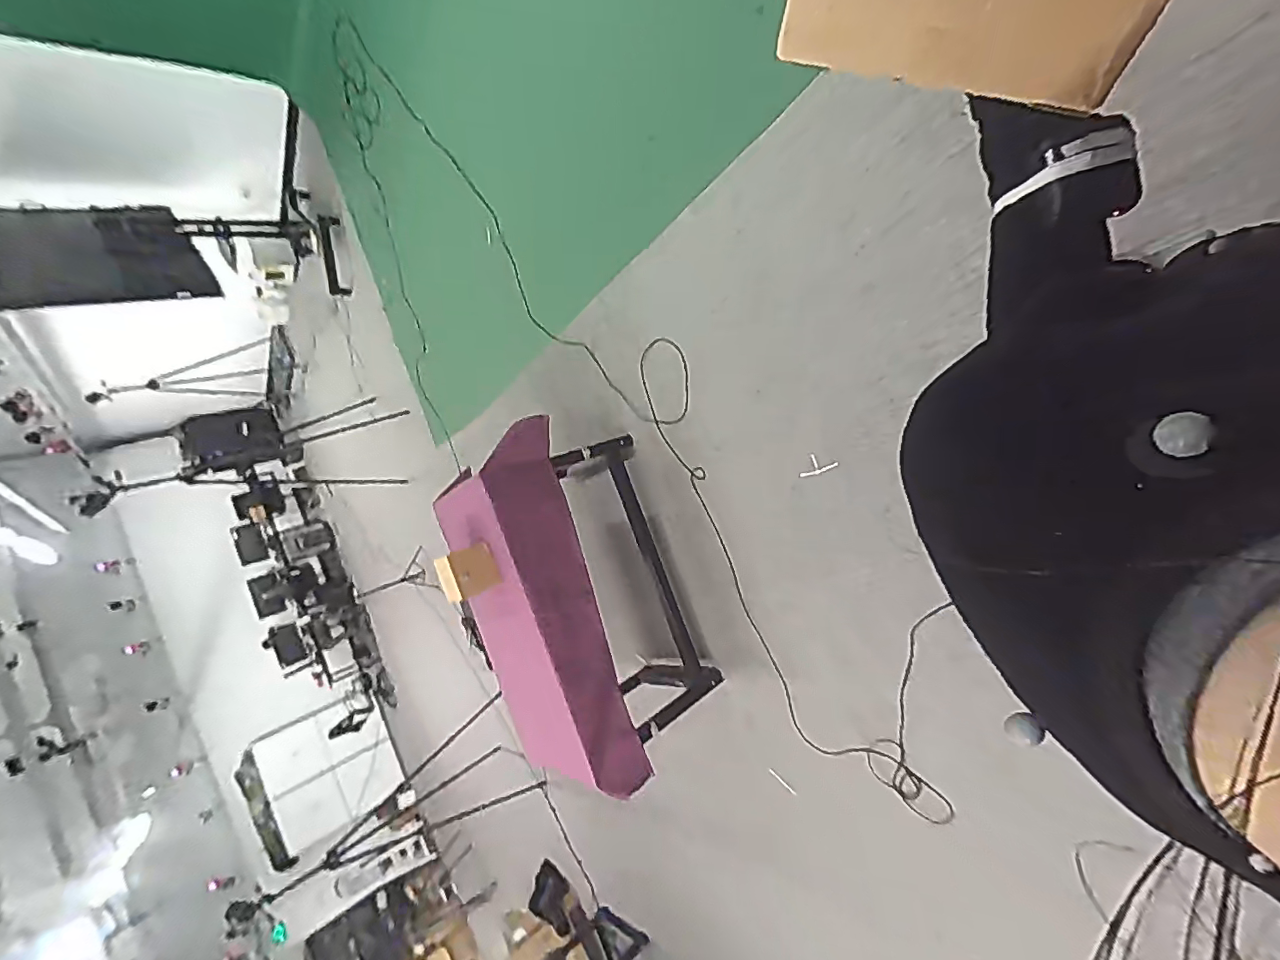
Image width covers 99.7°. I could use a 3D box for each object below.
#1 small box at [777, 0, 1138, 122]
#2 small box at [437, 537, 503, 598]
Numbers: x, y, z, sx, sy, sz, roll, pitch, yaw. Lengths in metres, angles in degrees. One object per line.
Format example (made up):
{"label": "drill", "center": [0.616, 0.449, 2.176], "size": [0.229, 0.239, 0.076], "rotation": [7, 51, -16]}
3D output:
{"label": "small box", "center": [0.182, -0.324, 0.277], "size": [0.168, 0.179, 0.176], "rotation": [15, 143, 6]}
{"label": "small box", "center": [-0.646, 0.334, 2.068], "size": [0.168, 0.176, 0.179], "rotation": [-20, 90, 51]}
